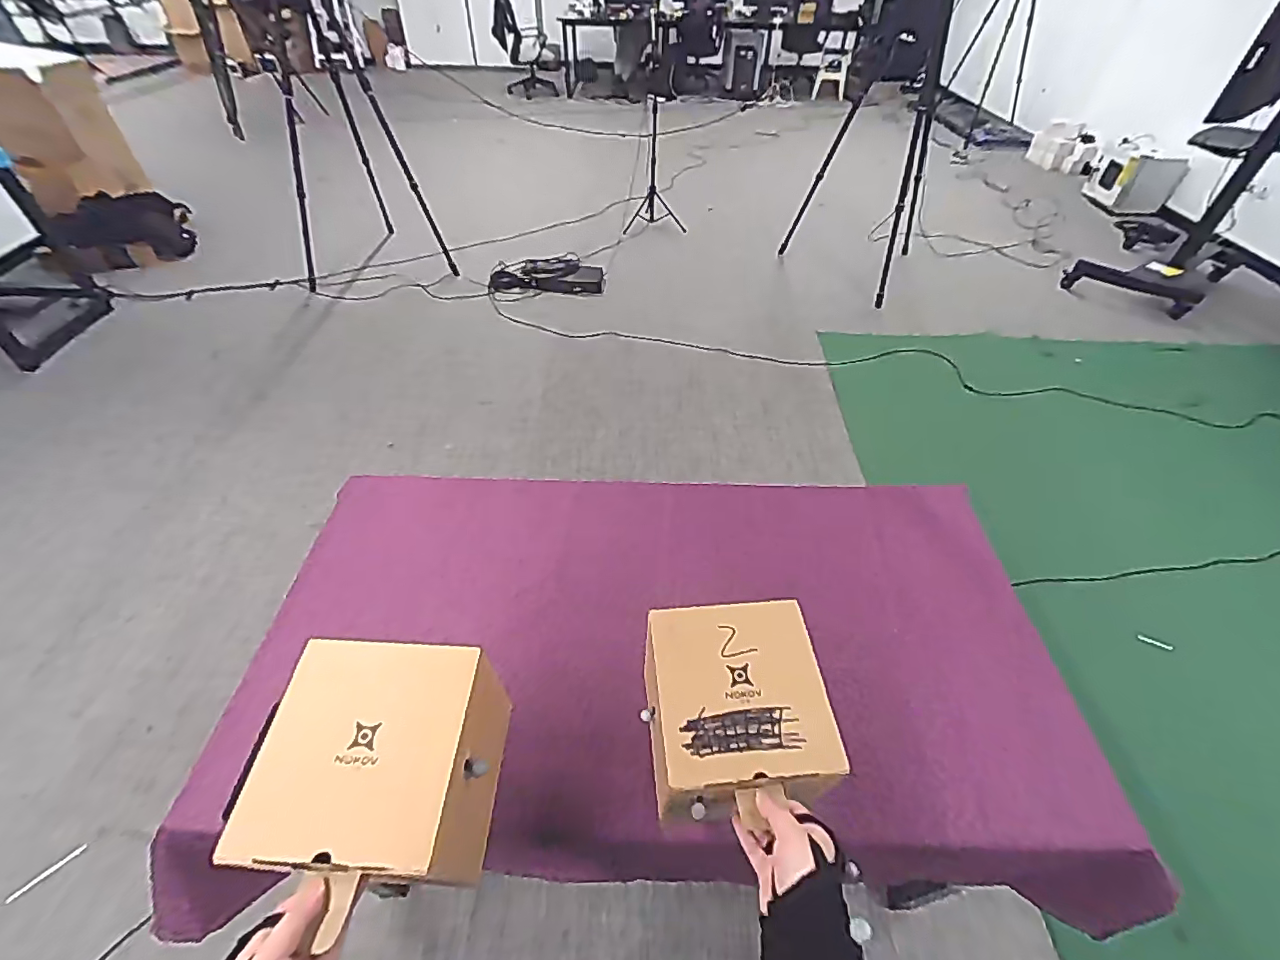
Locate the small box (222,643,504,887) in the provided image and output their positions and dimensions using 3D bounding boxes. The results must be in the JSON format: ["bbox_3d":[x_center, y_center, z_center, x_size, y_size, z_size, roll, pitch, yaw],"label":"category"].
[{"bbox_3d":[-0.237,0.278,0.524,0.168,0.176,0.179,3,52,1],"label":"small box"}]
